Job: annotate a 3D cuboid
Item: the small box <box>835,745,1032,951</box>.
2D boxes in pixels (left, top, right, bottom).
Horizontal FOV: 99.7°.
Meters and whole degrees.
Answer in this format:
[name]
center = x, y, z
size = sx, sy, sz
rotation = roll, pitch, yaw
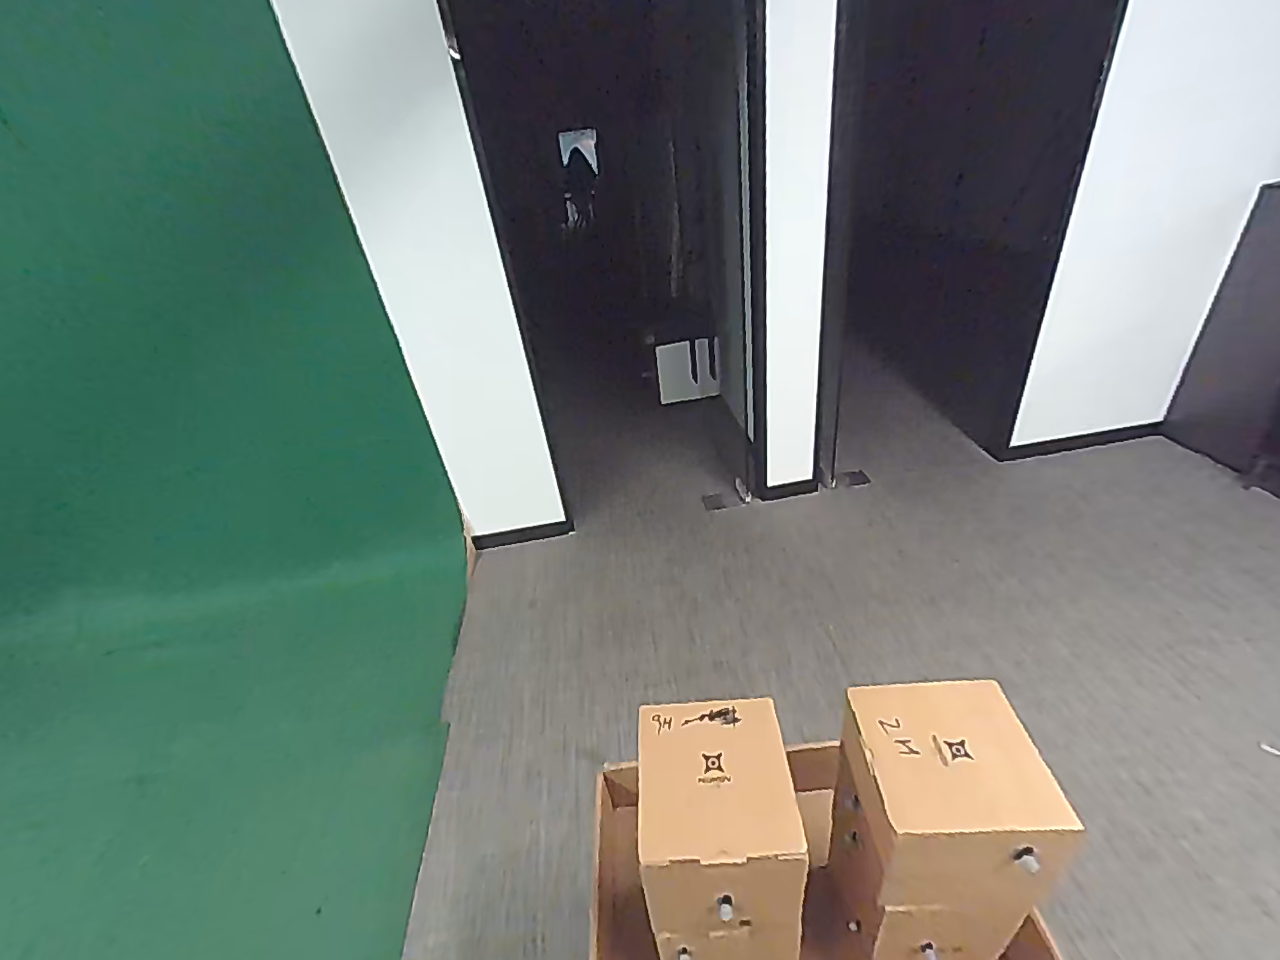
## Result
[small box]
center = 0.365, 0.483, 0.716
size = 0.168, 0.176, 0.179
rotation = -7, 34, 5
